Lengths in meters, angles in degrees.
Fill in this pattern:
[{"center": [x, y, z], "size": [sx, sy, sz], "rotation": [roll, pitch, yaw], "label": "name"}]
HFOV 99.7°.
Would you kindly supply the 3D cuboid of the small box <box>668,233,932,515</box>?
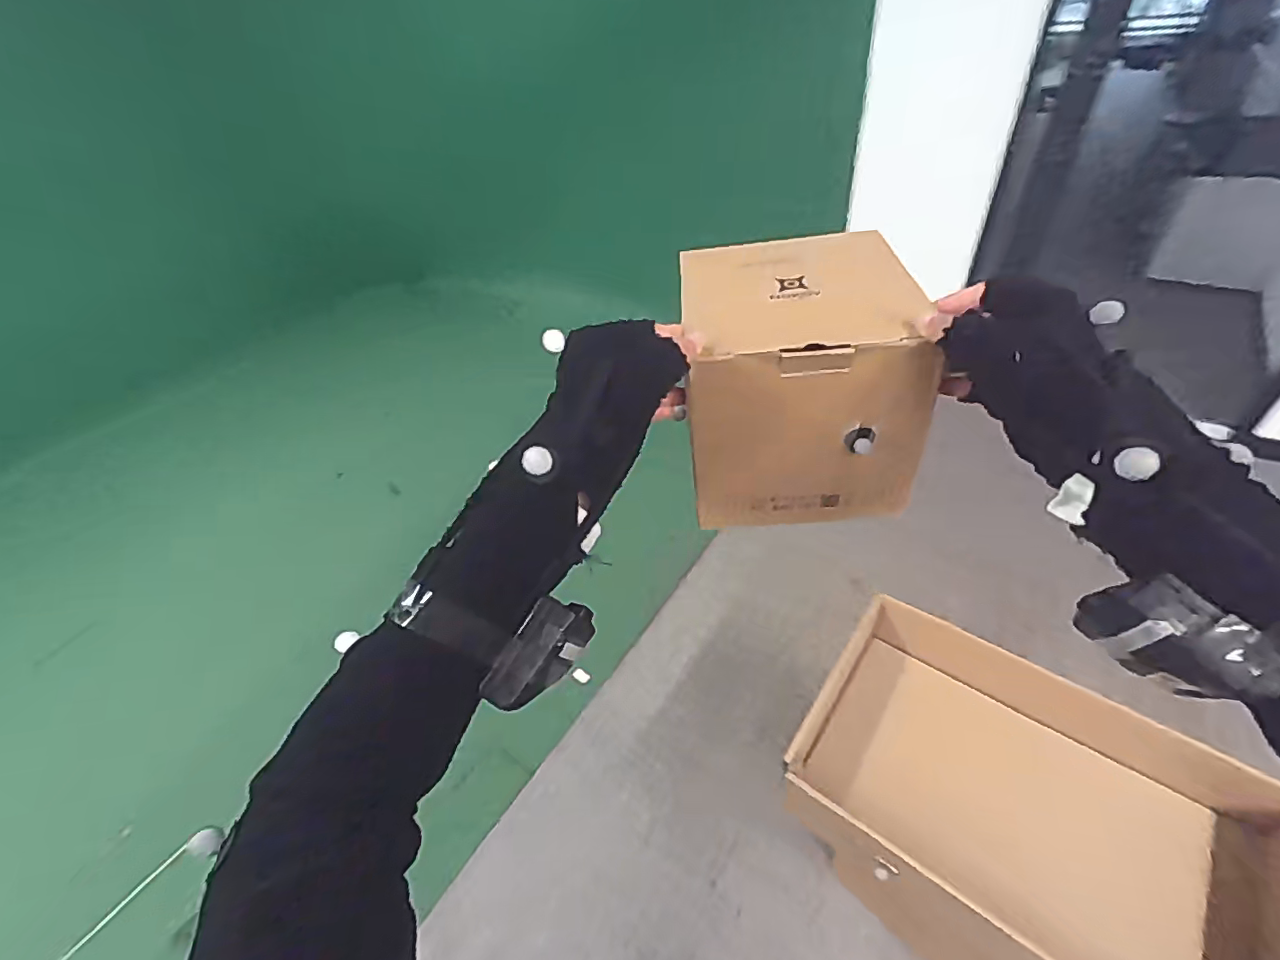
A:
[{"center": [0.112, -0.082, 0.452], "size": [0.168, 0.176, 0.179], "rotation": [-4, 42, 5], "label": "small box"}]
